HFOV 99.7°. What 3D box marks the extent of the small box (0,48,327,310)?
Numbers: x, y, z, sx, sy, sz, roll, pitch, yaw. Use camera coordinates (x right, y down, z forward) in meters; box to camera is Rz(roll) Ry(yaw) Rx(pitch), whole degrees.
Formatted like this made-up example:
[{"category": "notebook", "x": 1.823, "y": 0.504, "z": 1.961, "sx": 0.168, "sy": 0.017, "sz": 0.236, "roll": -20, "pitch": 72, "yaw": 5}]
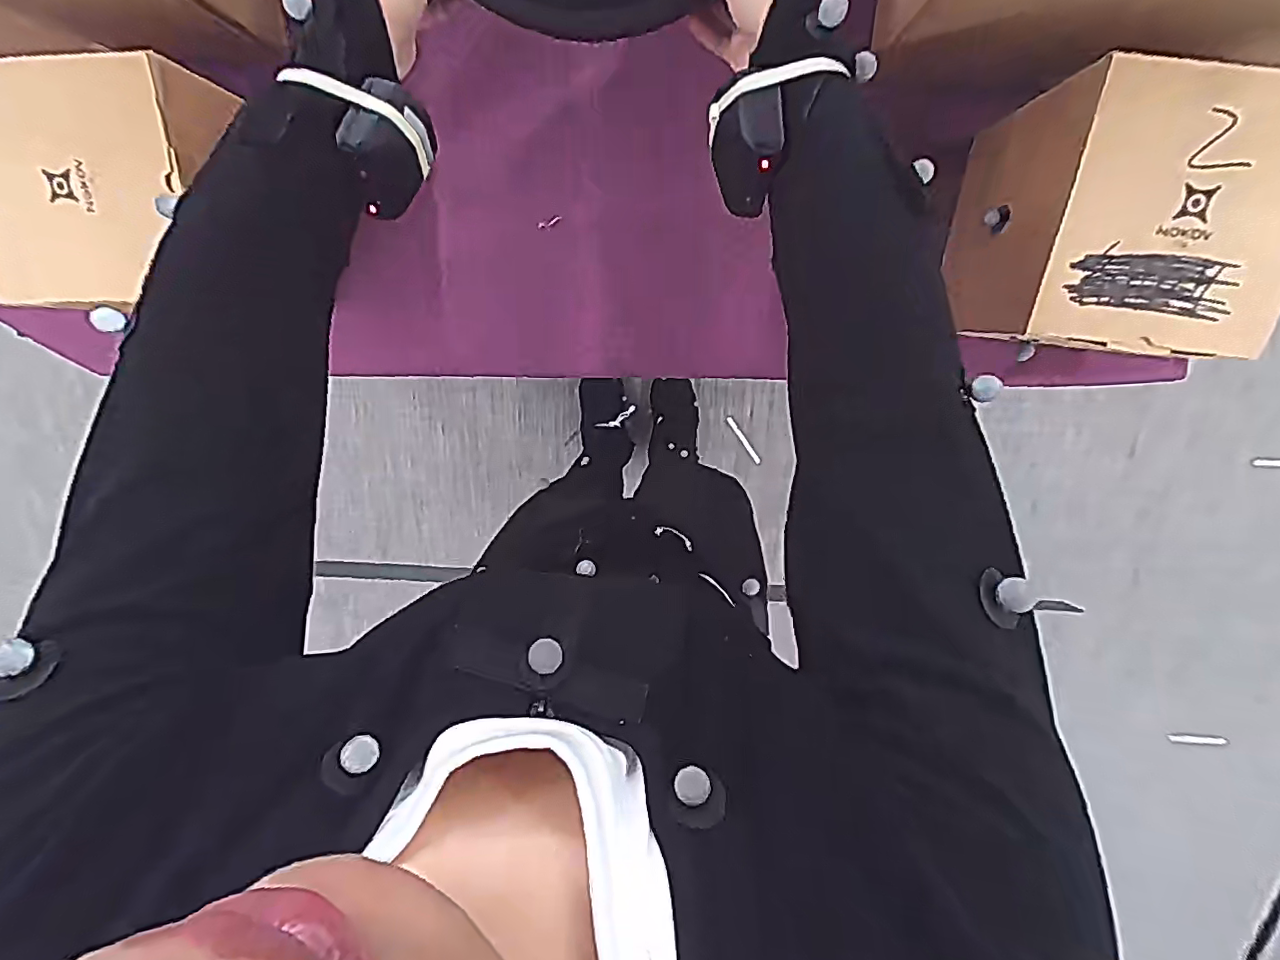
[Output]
[{"category": "small box", "x": -0.418, "y": -0.240, "z": 0.475, "sx": 0.179, "sy": 0.176, "sz": 0.168, "roll": -1, "pitch": 106, "yaw": 2}]
